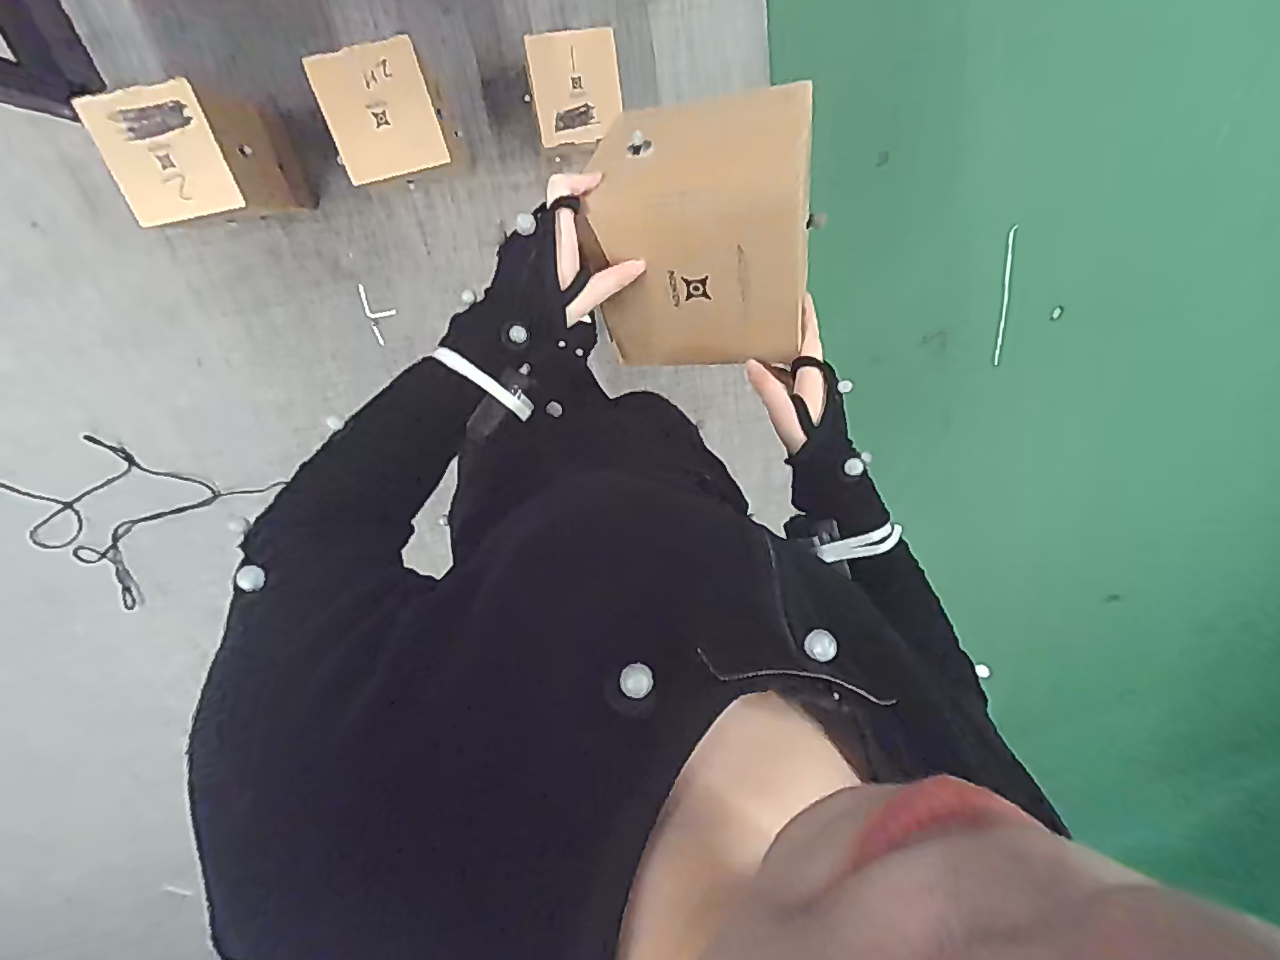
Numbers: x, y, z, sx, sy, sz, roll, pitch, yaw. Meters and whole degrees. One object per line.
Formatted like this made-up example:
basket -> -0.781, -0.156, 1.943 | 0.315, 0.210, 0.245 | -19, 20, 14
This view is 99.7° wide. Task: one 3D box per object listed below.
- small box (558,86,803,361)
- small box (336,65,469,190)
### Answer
small box -> 0.051, -0.229, 0.498 | 0.179, 0.176, 0.168 | 3, 144, 18
small box -> -0.456, -0.686, 1.072 | 0.179, 0.176, 0.168 | -15, 116, -4
